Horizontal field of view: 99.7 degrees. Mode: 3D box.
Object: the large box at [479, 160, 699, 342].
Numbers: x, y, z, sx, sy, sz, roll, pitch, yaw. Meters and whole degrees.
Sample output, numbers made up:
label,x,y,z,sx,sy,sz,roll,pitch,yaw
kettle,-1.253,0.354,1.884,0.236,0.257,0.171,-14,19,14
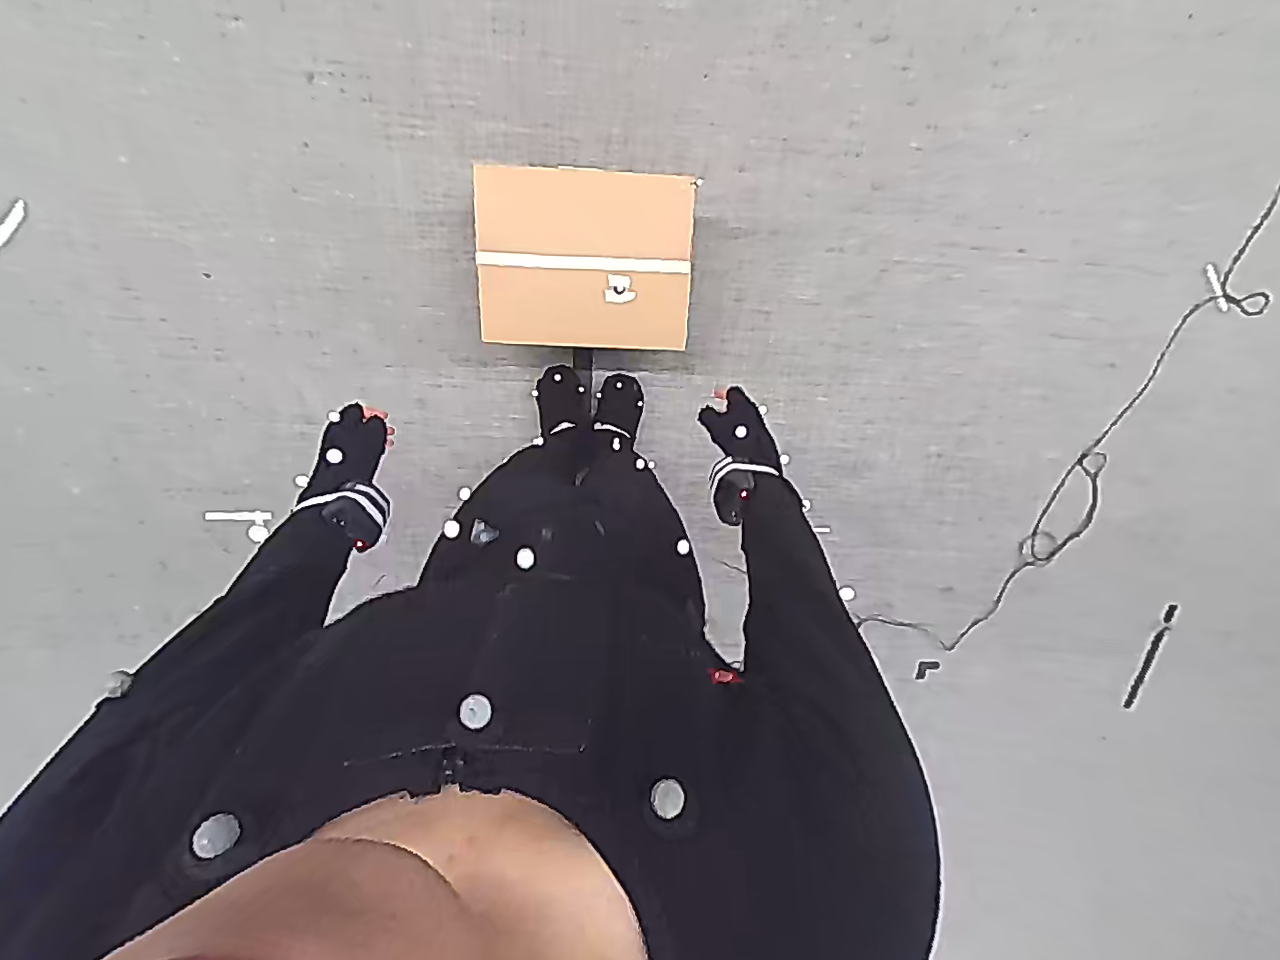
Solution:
label,x,y,z,sx,sy,sz,roll,pitch,yaw
large box,-0.105,-0.469,1.163,0.408,0.320,0.320,1,109,-4
